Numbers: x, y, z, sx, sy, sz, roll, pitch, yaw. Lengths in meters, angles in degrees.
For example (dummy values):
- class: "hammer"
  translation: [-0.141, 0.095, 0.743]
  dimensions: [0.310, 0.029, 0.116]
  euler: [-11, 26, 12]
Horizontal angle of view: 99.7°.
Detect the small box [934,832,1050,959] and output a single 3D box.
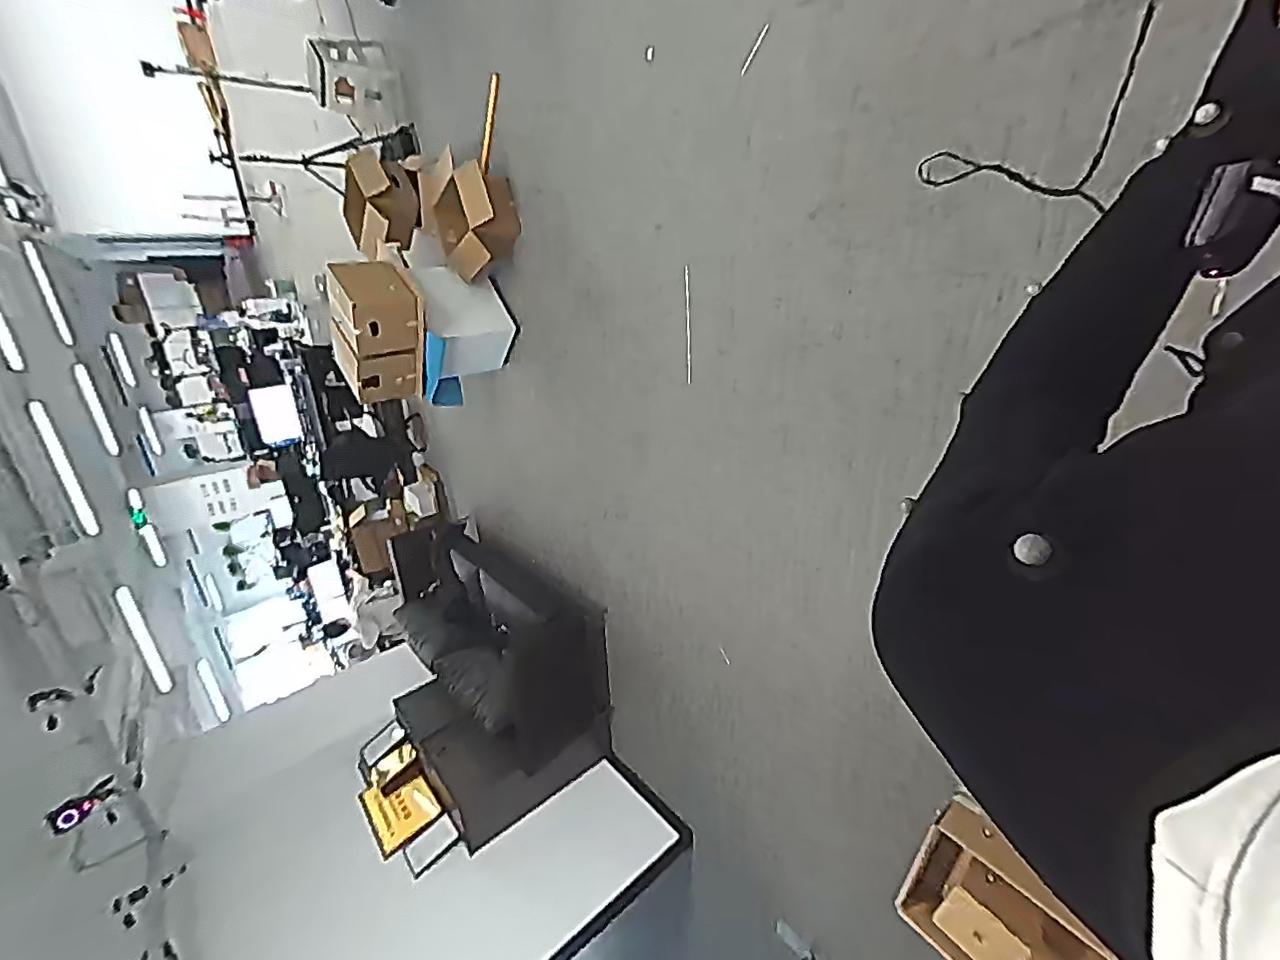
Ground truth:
- class: "small box"
  translation: [0.872, 1.024, 1.335]
  dimensions: [0.168, 0.176, 0.179]
  euler: [35, 132, 40]
